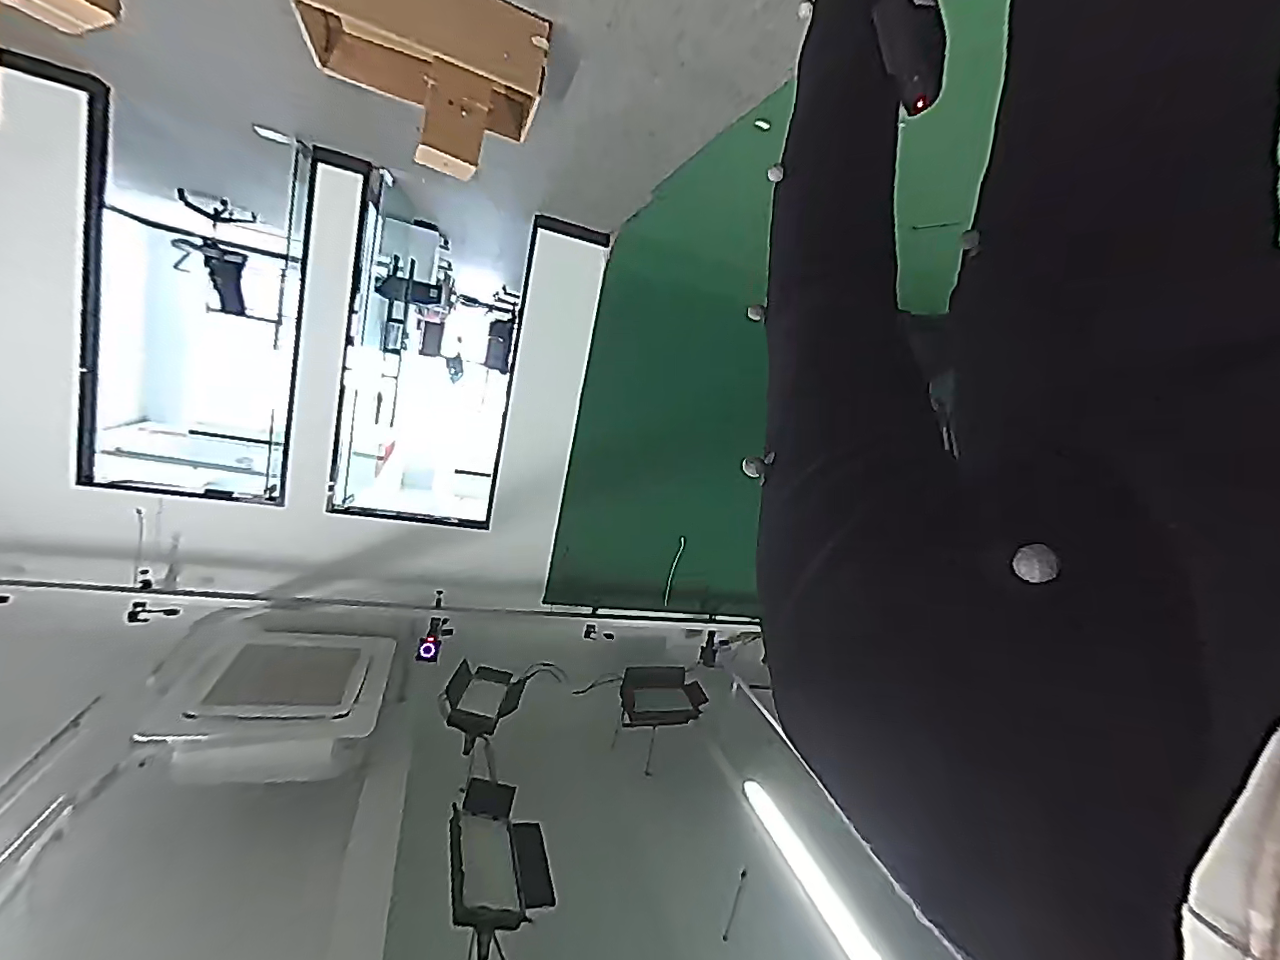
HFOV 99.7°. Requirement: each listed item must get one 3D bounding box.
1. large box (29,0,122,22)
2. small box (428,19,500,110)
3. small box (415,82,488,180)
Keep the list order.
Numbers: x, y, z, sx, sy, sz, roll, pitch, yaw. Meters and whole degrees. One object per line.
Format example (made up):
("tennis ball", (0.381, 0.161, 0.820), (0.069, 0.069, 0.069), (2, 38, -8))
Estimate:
("large box", (-1.446, -1.314, 1.173), (0.320, 0.320, 0.408), (18, -168, 26))
("small box", (-0.524, -1.200, 1.603), (0.168, 0.176, 0.179), (12, -173, -26))
("small box", (-0.568, -1.045, 1.629), (0.168, 0.176, 0.179), (10, -172, -30))
